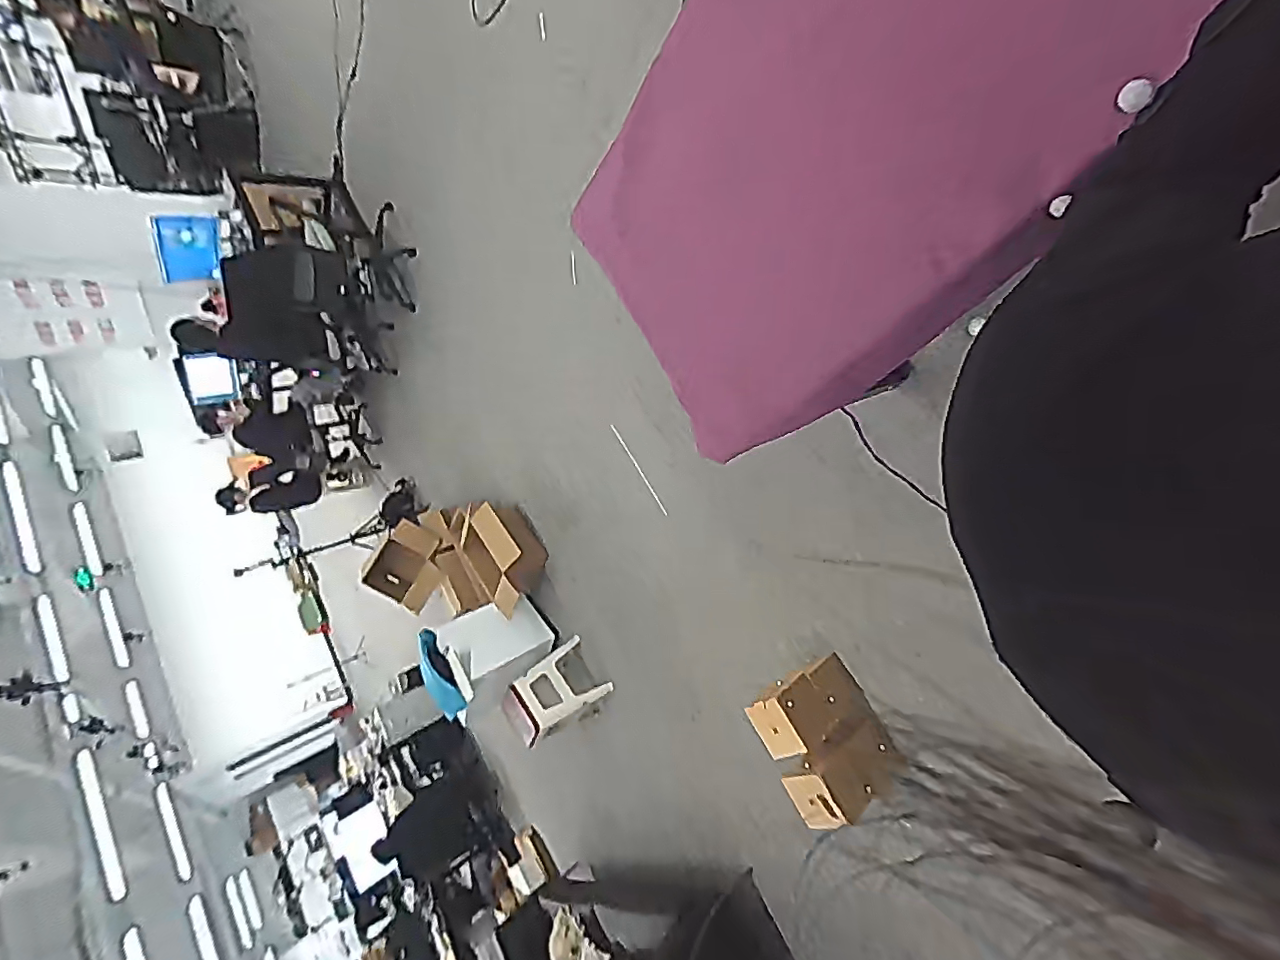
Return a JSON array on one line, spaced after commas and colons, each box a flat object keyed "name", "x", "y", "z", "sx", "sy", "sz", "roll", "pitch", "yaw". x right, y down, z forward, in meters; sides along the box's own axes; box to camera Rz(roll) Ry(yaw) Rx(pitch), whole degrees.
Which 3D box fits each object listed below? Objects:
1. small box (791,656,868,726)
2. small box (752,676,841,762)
[{"name": "small box", "x": 0.625, "y": 0.720, "z": 1.820, "sx": 0.168, "sy": 0.176, "sz": 0.179, "roll": 58, "pitch": 140, "yaw": 15}, {"name": "small box", "x": 0.501, "y": 0.759, "z": 1.722, "sx": 0.179, "sy": 0.176, "sz": 0.168, "roll": 58, "pitch": 139, "yaw": 16}]
